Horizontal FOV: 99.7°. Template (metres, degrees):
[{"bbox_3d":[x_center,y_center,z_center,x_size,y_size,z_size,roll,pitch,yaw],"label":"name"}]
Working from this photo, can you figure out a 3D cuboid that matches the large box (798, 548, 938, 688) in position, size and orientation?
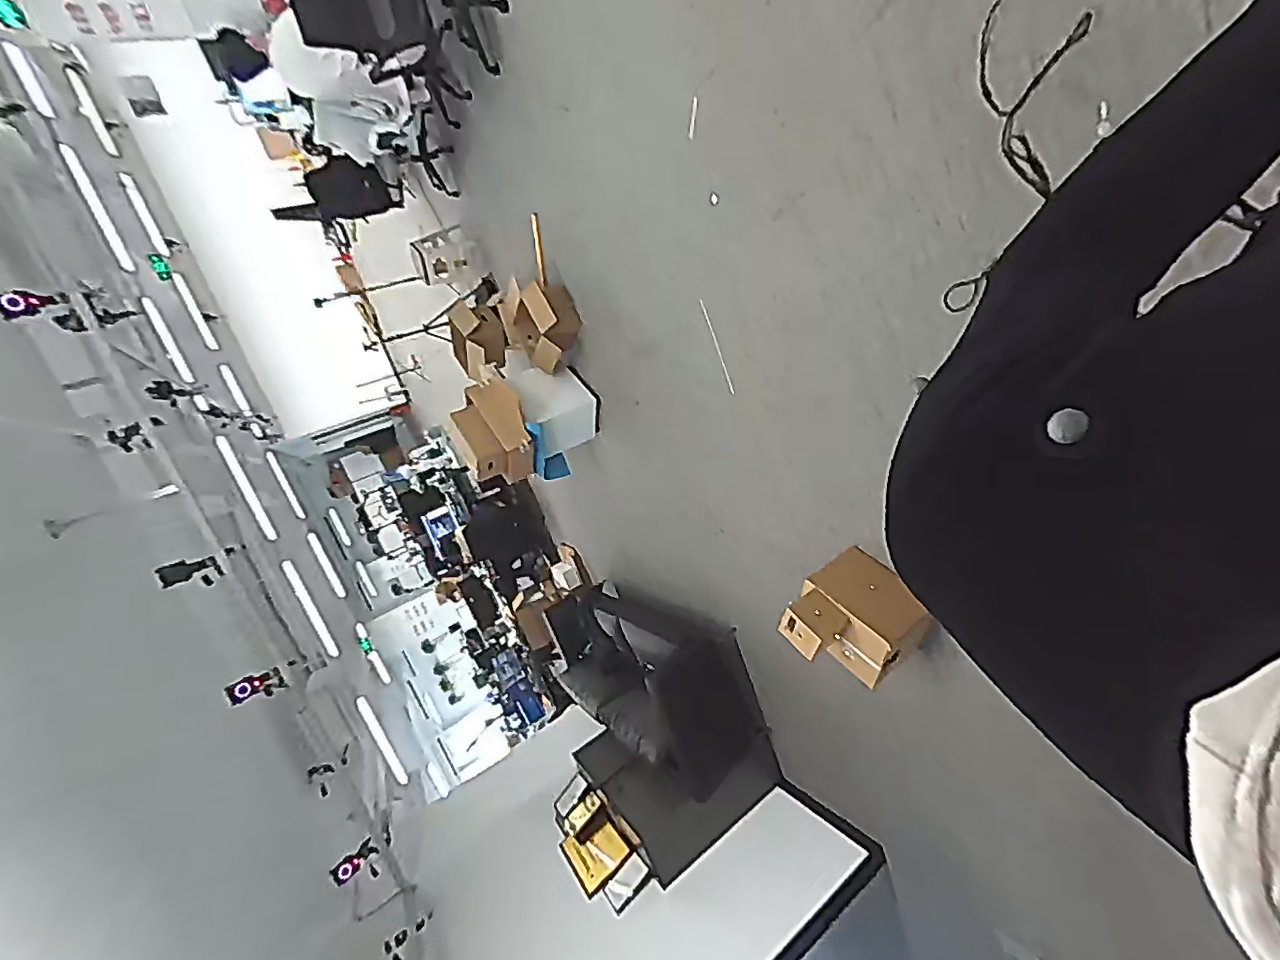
[{"bbox_3d":[0.930,0.556,2.245,0.408,0.320,0.320,39,146,40],"label":"large box"}]
